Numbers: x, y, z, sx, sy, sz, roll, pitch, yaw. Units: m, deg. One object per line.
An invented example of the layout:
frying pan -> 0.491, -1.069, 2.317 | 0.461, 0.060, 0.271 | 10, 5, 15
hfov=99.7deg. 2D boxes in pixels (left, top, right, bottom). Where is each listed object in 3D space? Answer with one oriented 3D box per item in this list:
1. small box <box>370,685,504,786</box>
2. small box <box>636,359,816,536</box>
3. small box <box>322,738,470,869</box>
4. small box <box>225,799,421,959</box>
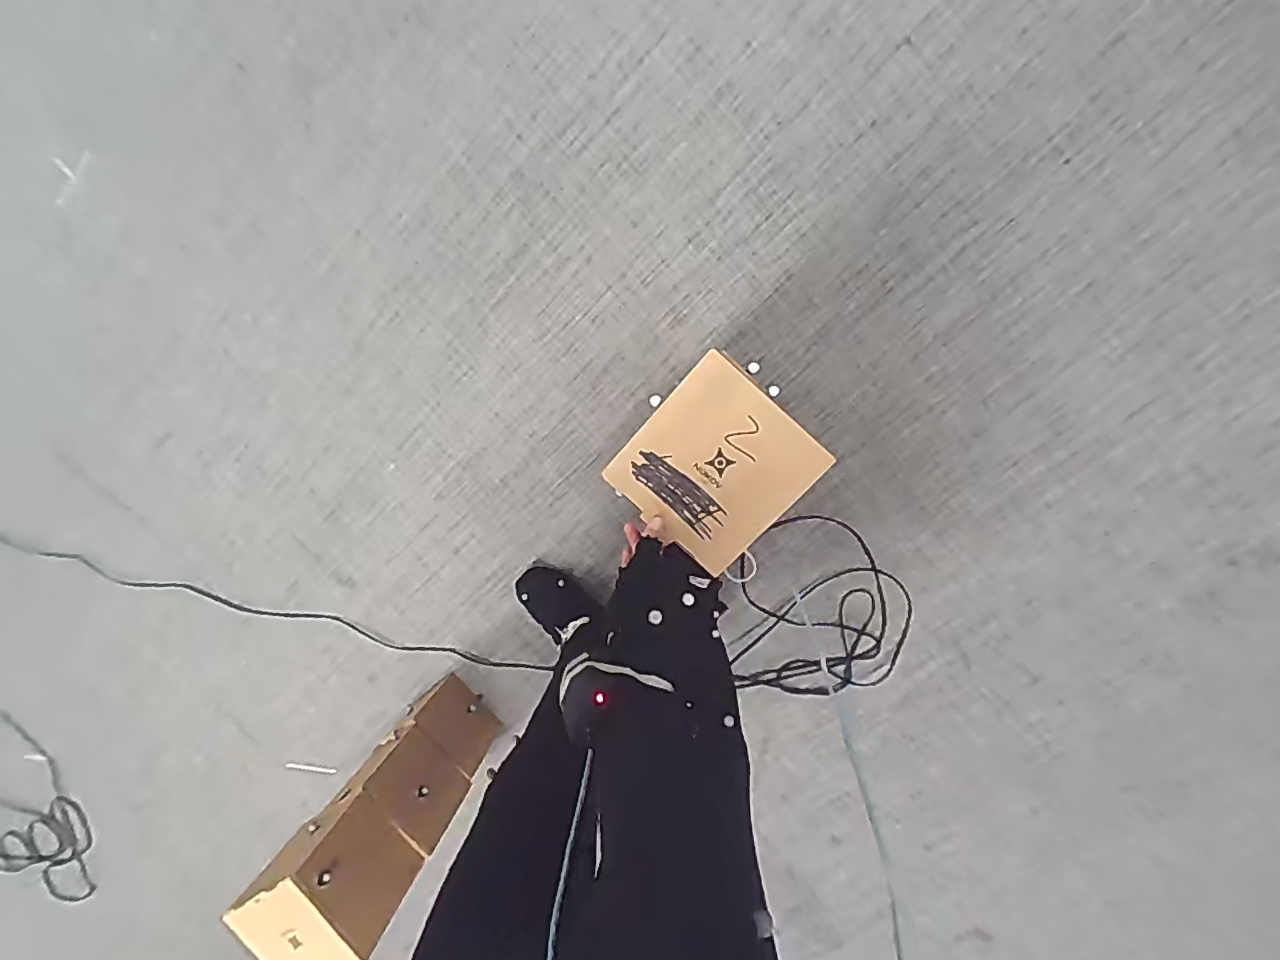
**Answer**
small box -> -0.438, 0.583, 1.189 | 0.168, 0.176, 0.179 | -43, 92, 19
small box -> 0.120, -0.053, 0.776 | 0.179, 0.176, 0.168 | 45, 106, -3
small box -> -0.465, 0.628, 1.030 | 0.168, 0.176, 0.179 | -39, 95, 16
small box -> -0.498, 0.669, 0.876 | 0.168, 0.176, 0.179 | -34, 95, 15
